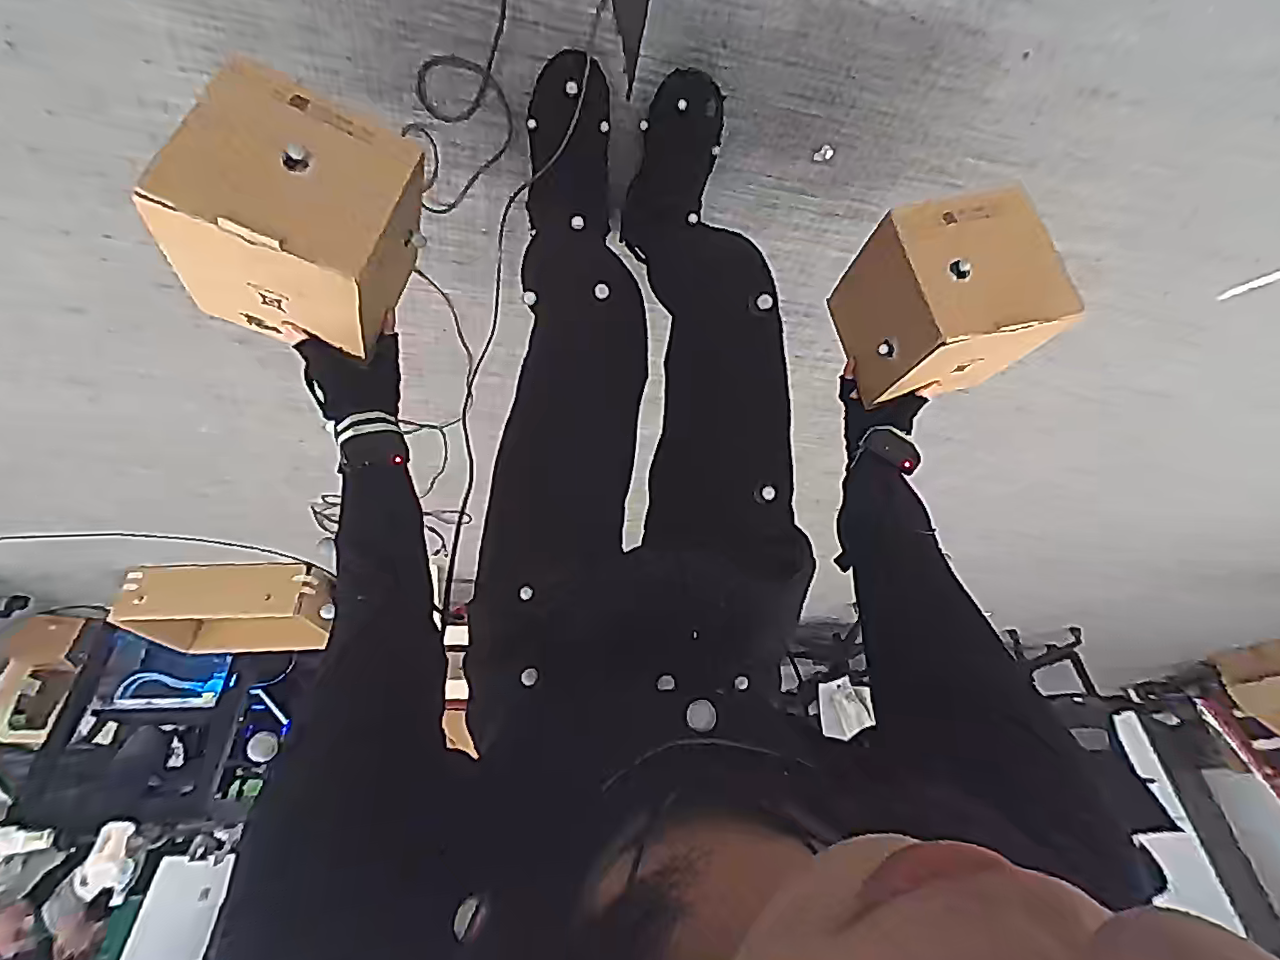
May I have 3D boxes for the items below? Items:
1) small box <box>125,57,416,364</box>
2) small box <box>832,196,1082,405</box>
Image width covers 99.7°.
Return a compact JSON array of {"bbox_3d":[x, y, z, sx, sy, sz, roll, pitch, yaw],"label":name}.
[{"bbox_3d":[-0.332,-0.252,0.530,0.168,0.176,0.179,20,155,-18],"label":"small box"},{"bbox_3d":[0.356,-0.213,0.648,0.168,0.176,0.179,-11,166,-8],"label":"small box"}]
